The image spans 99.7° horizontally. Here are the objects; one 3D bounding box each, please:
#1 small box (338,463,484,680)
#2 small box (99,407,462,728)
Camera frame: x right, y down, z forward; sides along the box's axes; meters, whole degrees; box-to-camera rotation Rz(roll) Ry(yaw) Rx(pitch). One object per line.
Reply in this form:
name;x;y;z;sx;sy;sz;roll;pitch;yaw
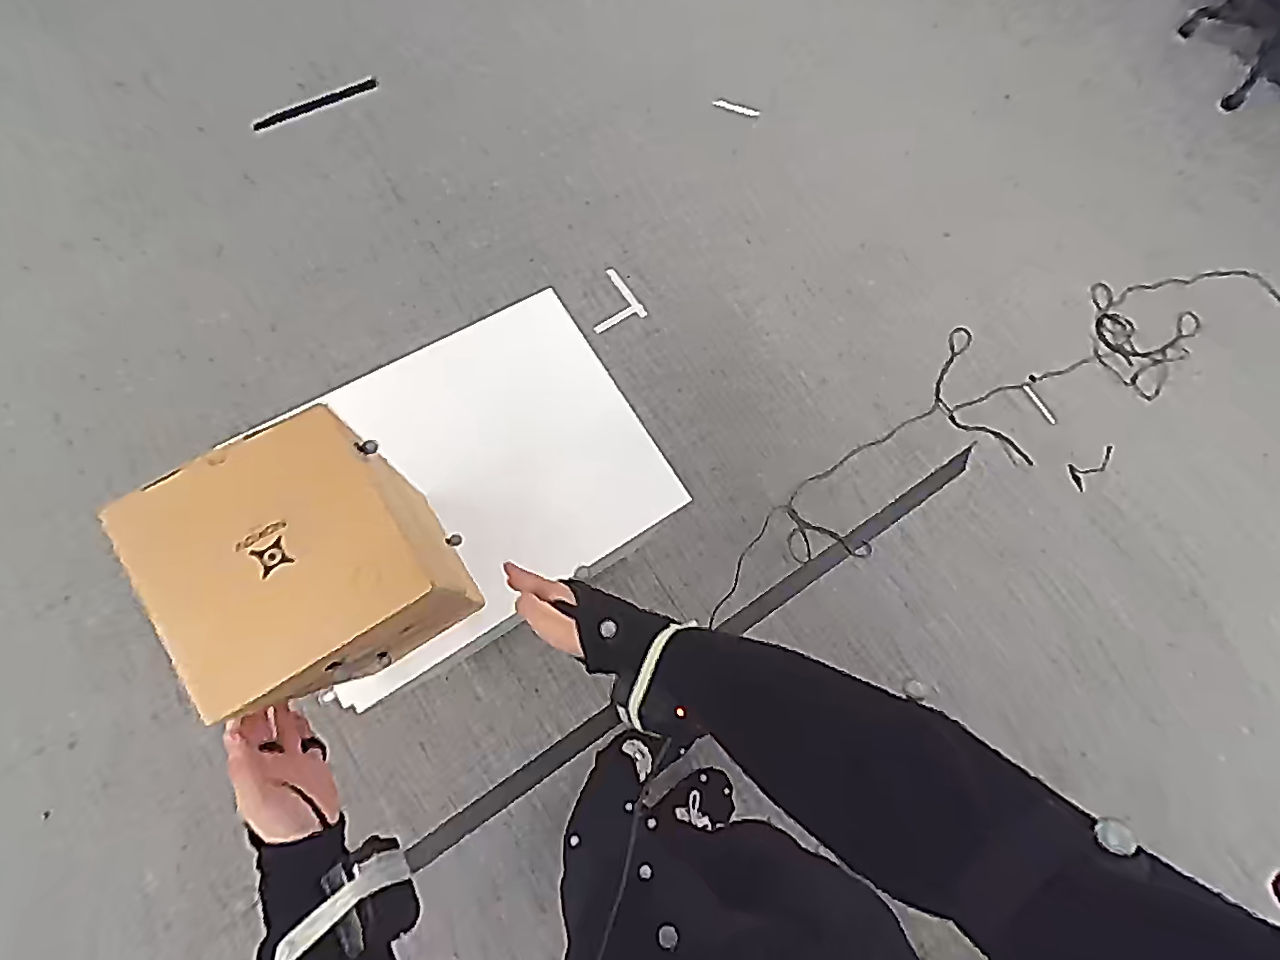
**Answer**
small box;-0.300;0.112;0.619;0.168;0.176;0.179;-31;81;-15
small box;-0.275;0.072;0.462;0.168;0.176;0.179;-33;82;-15
